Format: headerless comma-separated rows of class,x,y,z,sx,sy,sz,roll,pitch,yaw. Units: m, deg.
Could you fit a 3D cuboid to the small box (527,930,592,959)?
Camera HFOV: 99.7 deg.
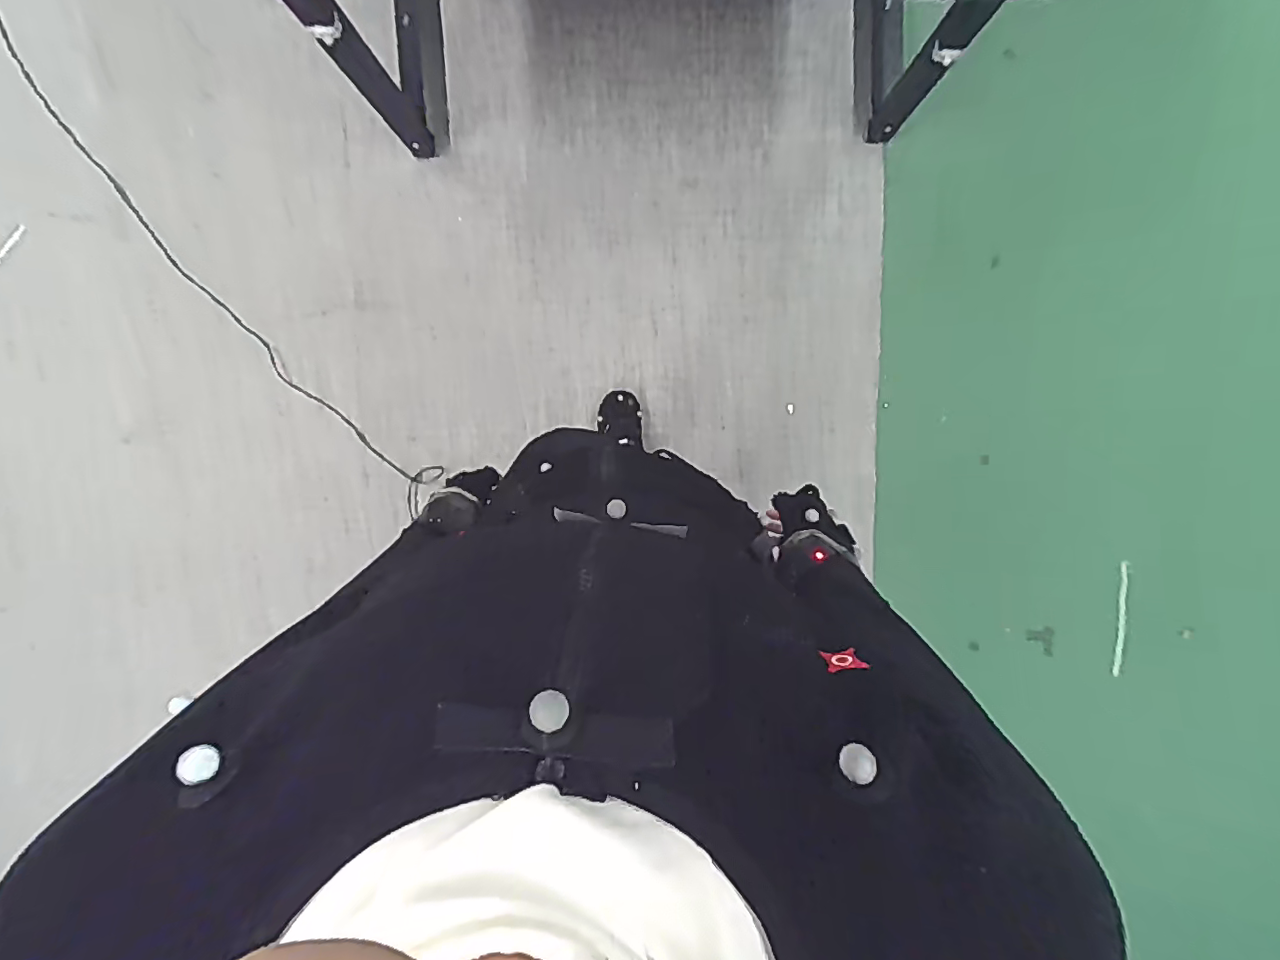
small box,-0.220,1.380,1.481,0.179,0.176,0.168,-4,97,0
